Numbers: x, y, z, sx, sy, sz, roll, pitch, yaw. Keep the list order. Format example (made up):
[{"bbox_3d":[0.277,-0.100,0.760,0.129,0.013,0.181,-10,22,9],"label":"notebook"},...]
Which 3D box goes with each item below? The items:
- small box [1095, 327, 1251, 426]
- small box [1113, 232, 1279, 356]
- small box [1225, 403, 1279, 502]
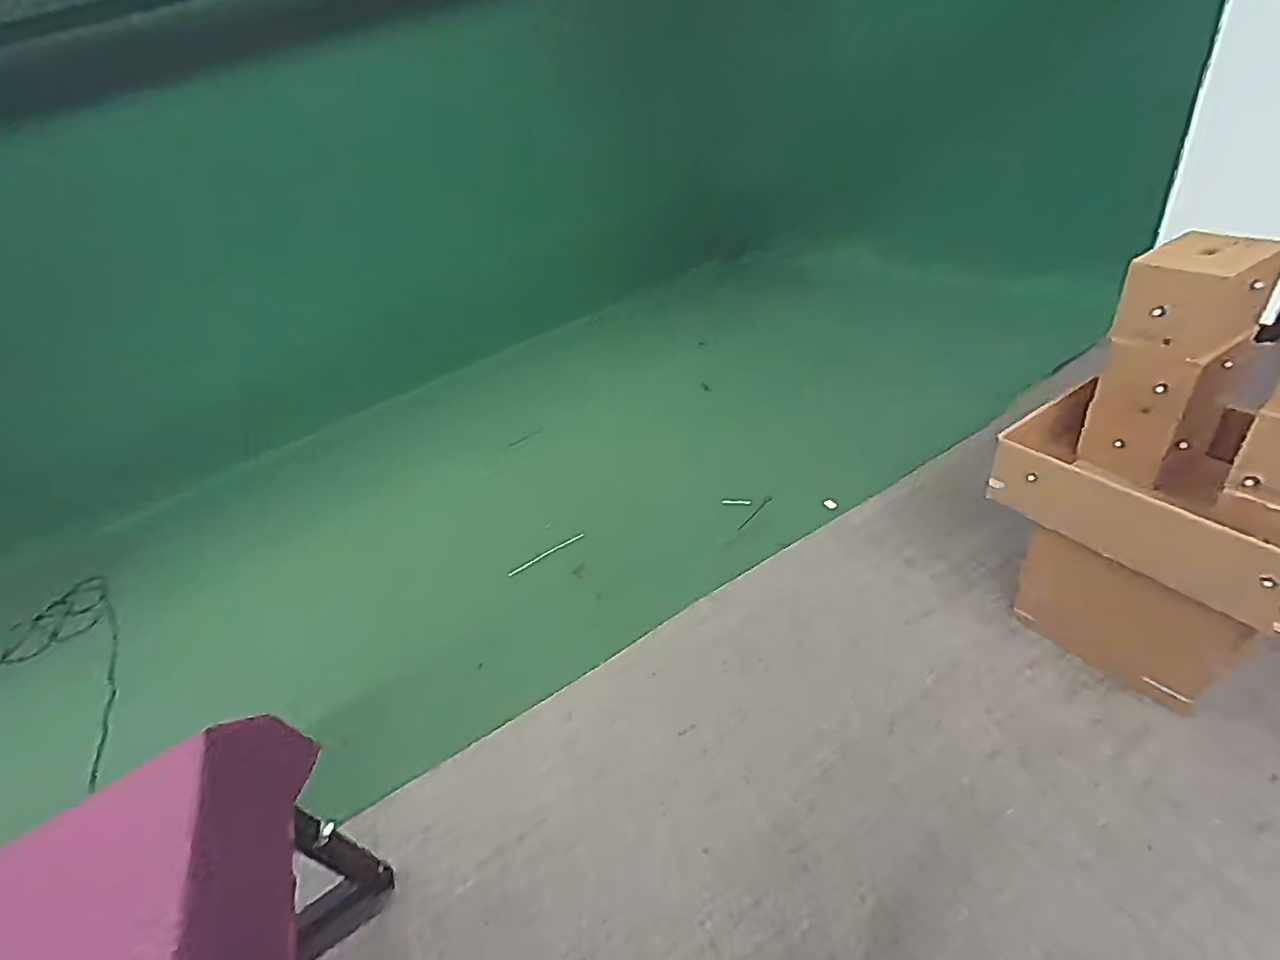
[{"bbox_3d":[1.143,-0.242,1.179,0.179,0.176,0.168,-27,39,-12],"label":"small box"},{"bbox_3d":[1.104,-0.372,1.085,0.179,0.176,0.168,-26,39,-10],"label":"small box"},{"bbox_3d":[1.171,-0.060,0.927,0.179,0.176,0.168,-30,38,-16],"label":"small box"}]
